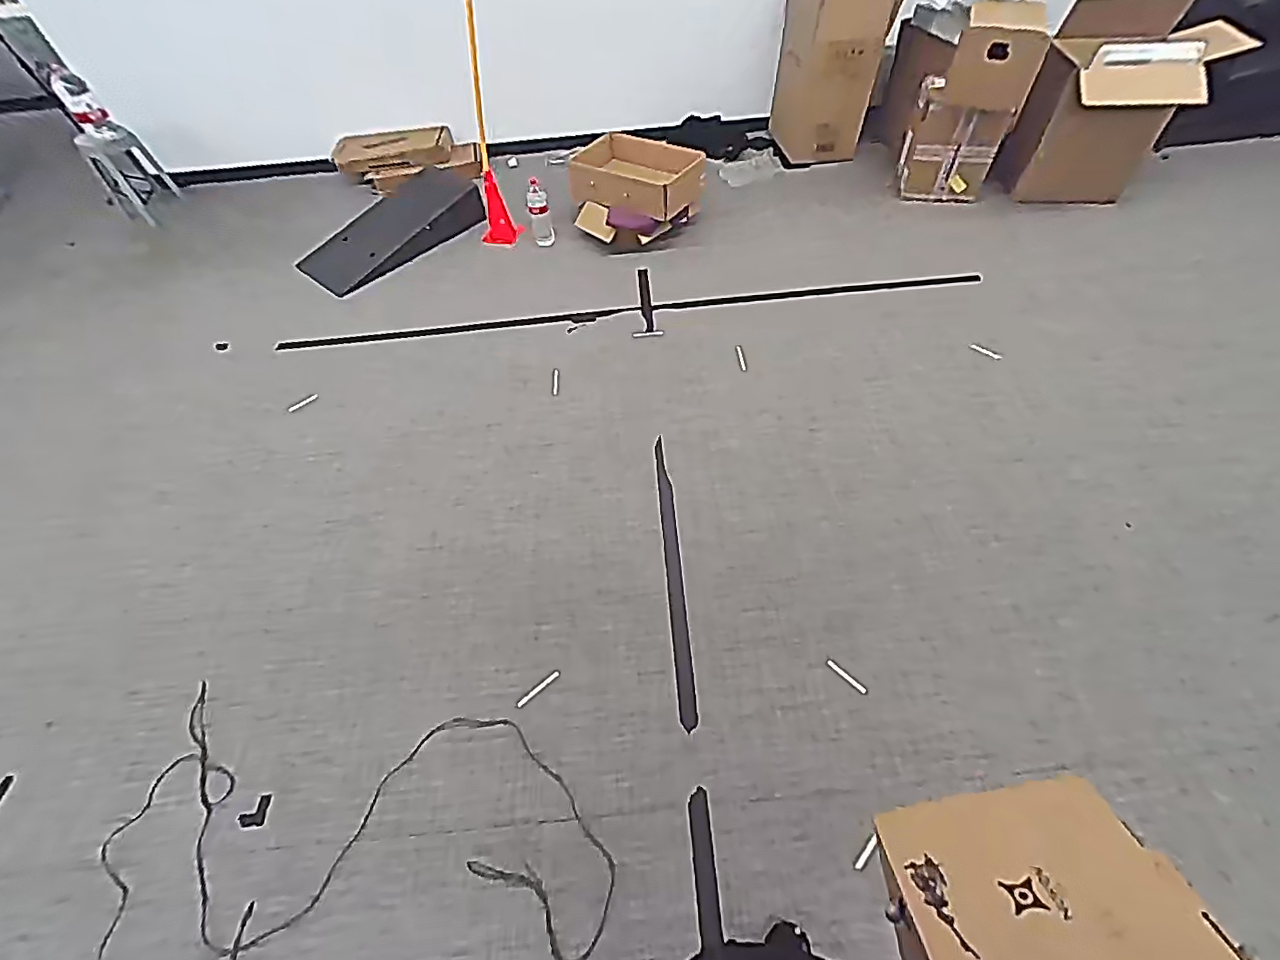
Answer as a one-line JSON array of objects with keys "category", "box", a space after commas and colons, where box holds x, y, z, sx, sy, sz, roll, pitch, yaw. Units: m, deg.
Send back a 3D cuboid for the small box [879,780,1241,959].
[{"category": "small box", "box": [0.307, 0.371, 0.410, 0.179, 0.176, 0.168, -15, 16, 7]}]
